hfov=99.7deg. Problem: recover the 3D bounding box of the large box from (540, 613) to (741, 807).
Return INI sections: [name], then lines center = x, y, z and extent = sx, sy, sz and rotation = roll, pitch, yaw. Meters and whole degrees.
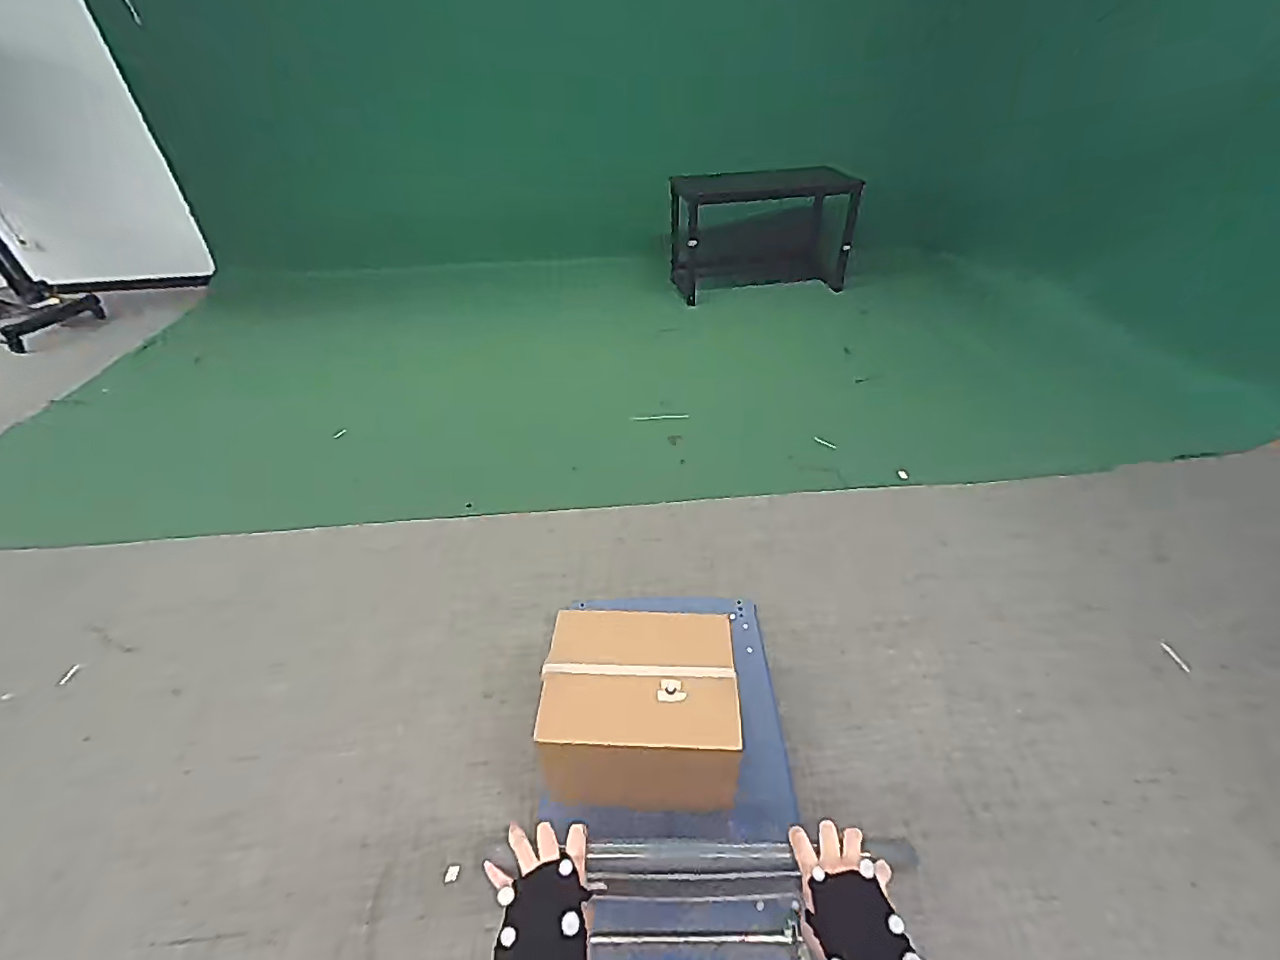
[large box]
center = 0.002, 0.534, 1.264
extent = 0.408, 0.320, 0.320
rotation = 2, 39, 2
